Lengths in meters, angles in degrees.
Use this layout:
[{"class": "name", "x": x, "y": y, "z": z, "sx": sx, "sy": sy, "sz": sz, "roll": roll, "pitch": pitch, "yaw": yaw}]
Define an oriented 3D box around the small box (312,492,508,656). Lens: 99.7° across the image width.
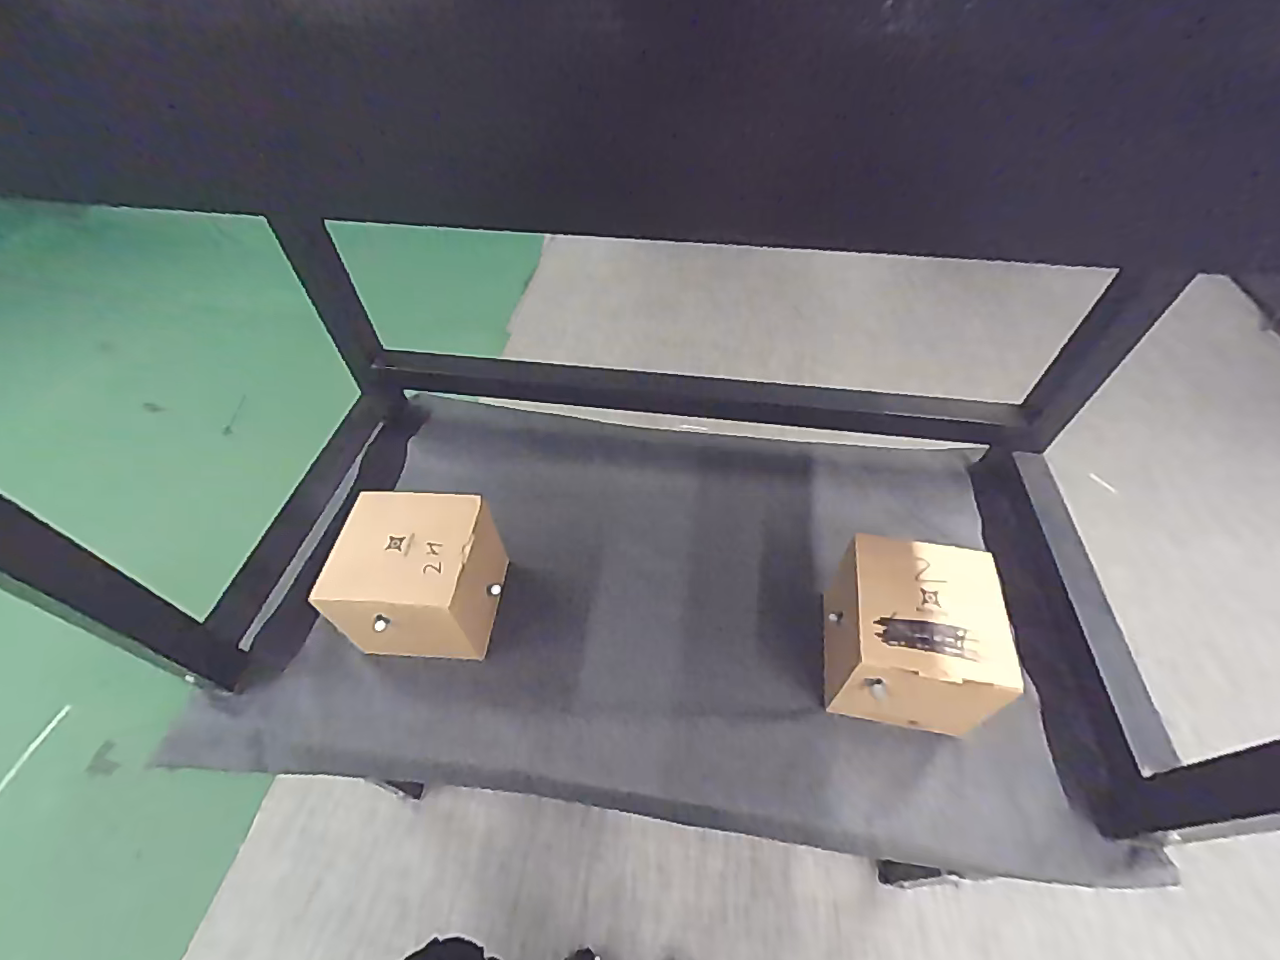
[{"class": "small box", "x": -0.302, "y": 0.134, "z": 0.755, "sx": 0.179, "sy": 0.176, "sz": 0.168, "roll": 3, "pitch": 52, "yaw": 3}]
